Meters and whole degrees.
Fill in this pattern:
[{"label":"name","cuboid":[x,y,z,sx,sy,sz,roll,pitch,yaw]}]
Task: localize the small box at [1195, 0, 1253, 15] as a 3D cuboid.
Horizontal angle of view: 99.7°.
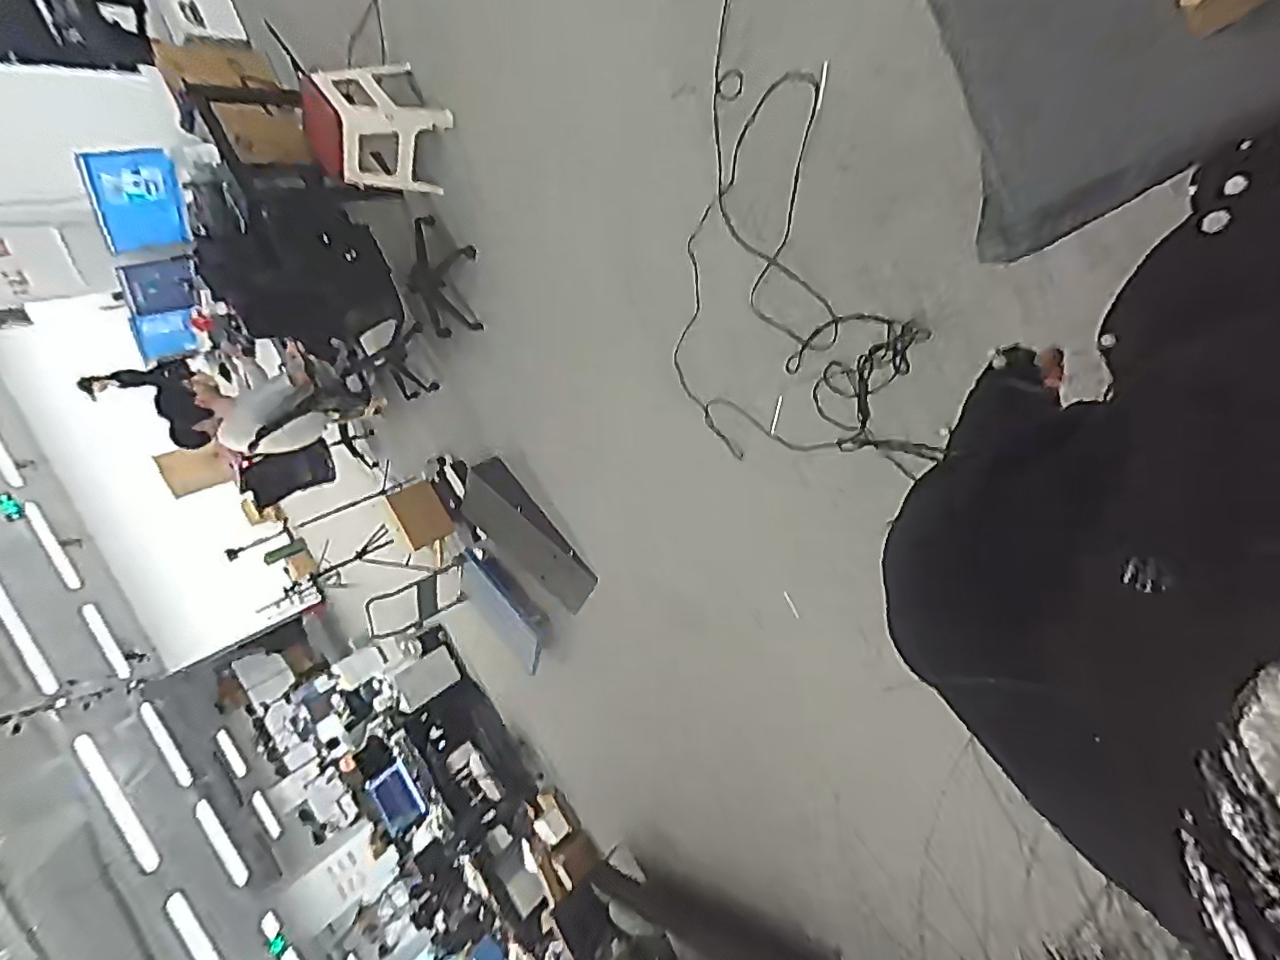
[{"label":"small box","cuboid":[0.438,-0.446,0.337,0.168,0.176,0.179,-18,99,51]}]
